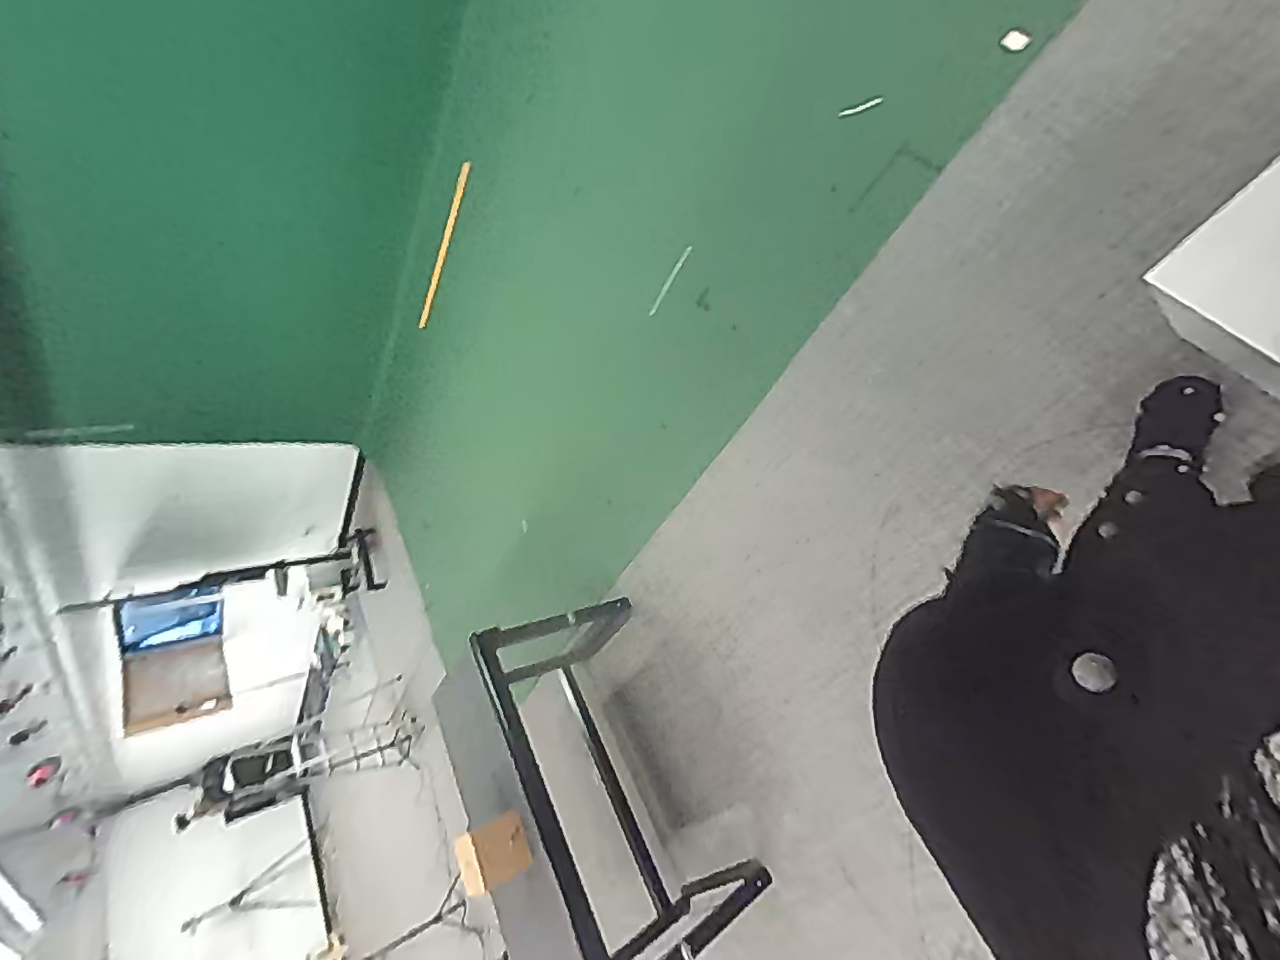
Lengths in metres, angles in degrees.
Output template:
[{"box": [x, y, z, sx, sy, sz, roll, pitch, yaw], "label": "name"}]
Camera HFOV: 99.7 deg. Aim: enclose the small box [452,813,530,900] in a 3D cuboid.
[{"box": [-0.472, 1.192, 1.715, 0.179, 0.176, 0.168, -48, 58, 40], "label": "small box"}]
